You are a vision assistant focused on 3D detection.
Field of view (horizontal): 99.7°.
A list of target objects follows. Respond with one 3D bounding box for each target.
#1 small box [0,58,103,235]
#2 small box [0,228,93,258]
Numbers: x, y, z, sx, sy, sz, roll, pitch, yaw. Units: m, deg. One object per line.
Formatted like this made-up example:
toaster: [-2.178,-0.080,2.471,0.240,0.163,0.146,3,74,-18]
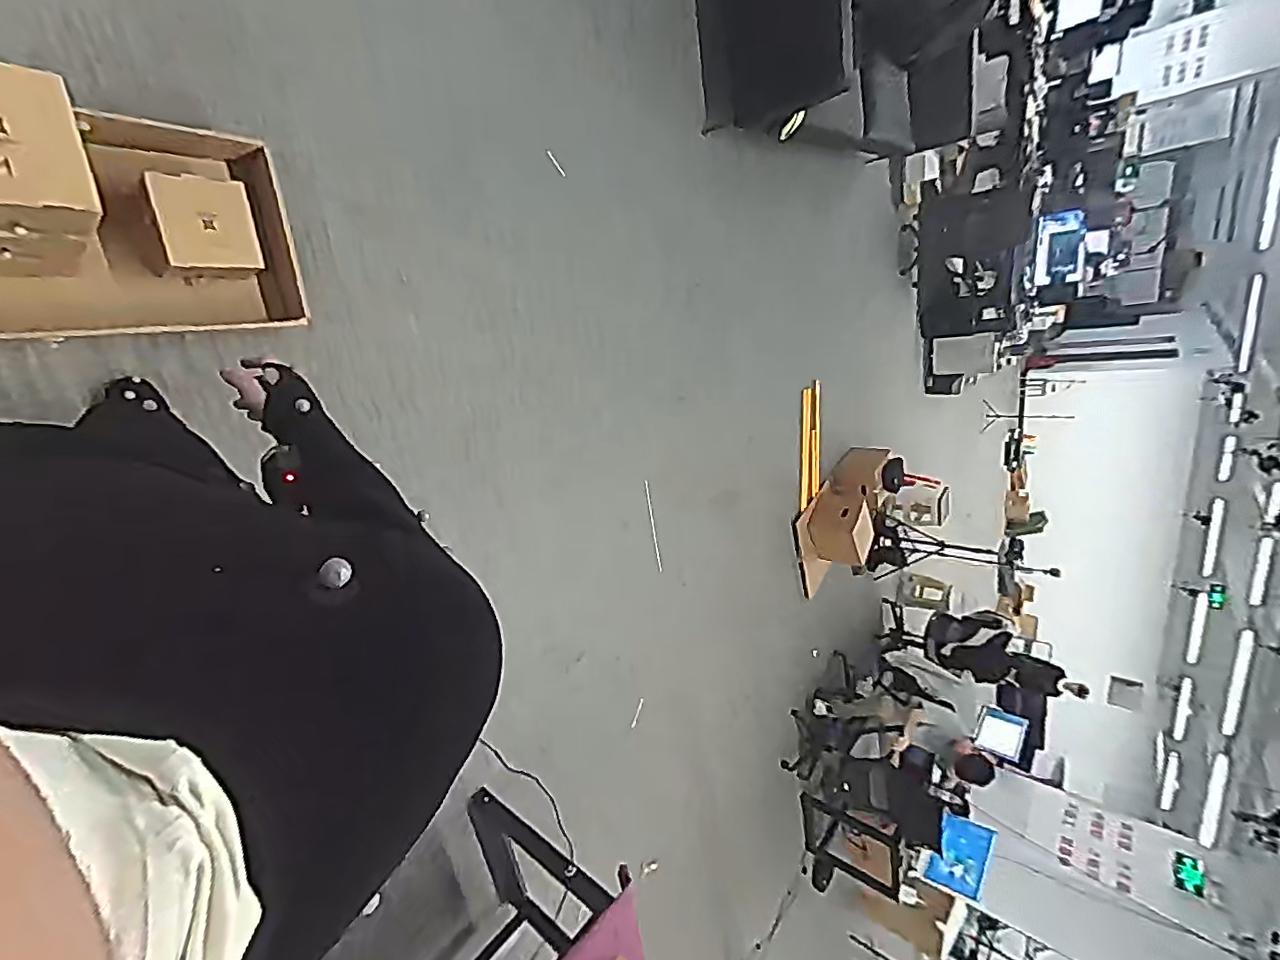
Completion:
small box: [-0.887,-0.459,0.748,0.168,0.176,0.179,-19,108,-46]
small box: [-1.012,-0.465,0.855,0.168,0.176,0.179,-20,109,-46]
